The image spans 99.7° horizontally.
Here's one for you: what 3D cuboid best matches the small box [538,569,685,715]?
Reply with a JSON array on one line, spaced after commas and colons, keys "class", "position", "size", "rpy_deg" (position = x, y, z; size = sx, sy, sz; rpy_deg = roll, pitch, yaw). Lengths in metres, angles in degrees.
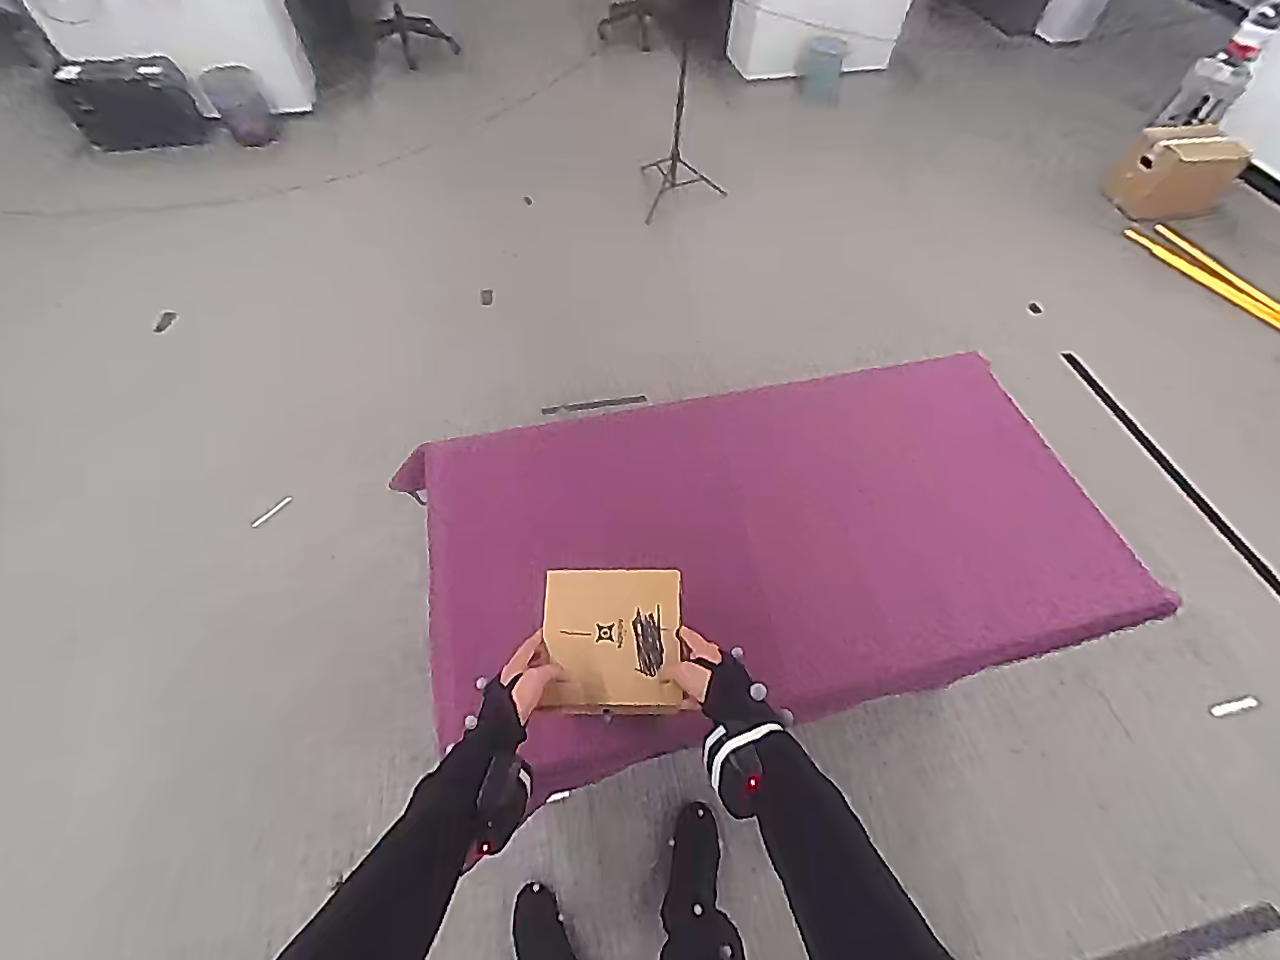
[{"class": "small box", "position": [-0.033, 0.227, 0.744], "size": [0.179, 0.176, 0.168], "rpy_deg": [0, 63, 1]}]
